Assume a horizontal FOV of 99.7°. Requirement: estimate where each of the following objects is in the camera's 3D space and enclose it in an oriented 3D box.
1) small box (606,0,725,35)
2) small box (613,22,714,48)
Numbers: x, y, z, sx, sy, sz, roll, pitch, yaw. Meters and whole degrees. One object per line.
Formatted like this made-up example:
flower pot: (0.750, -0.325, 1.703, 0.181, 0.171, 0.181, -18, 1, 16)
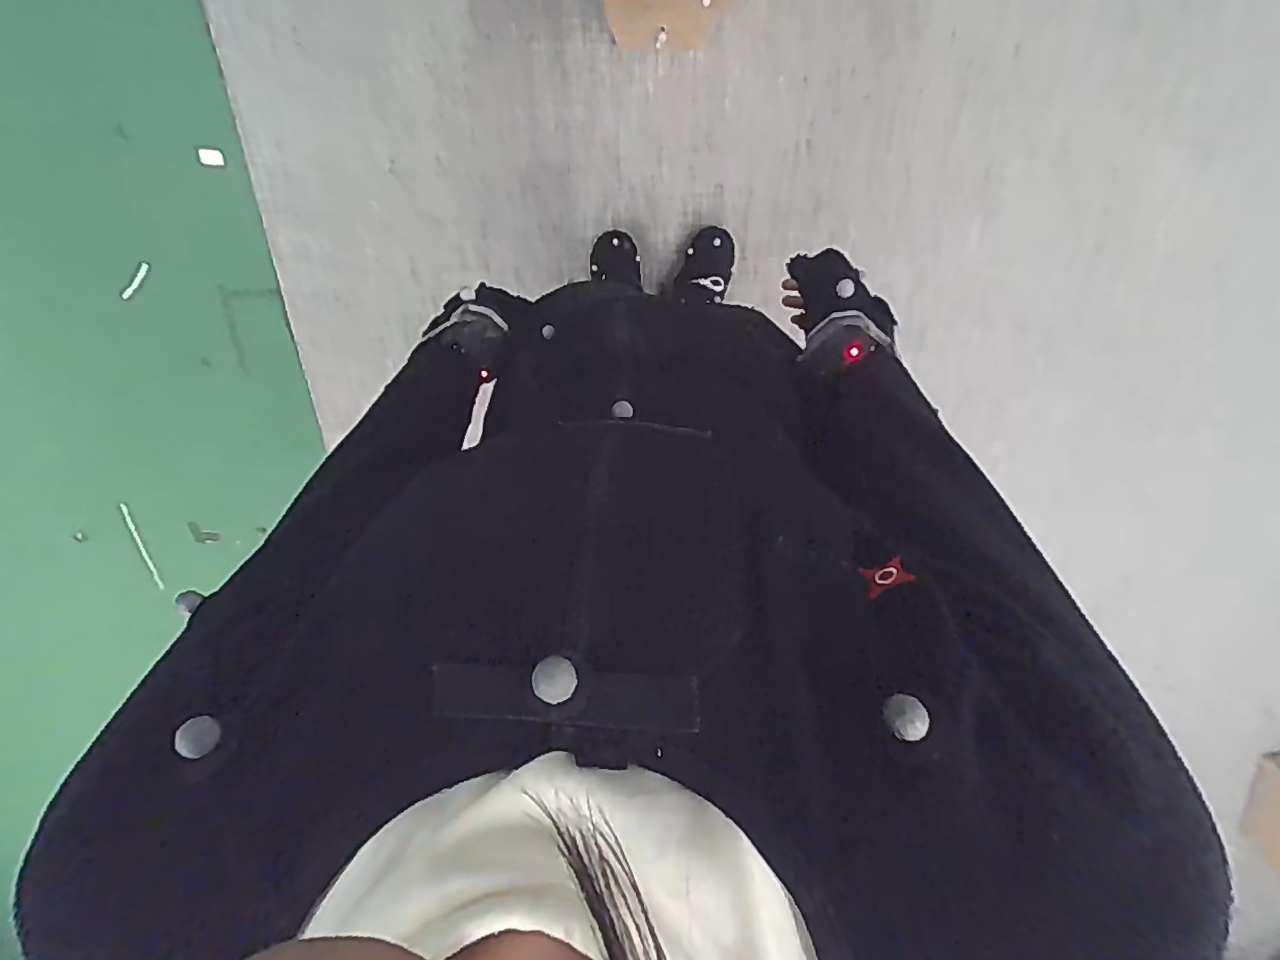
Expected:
small box: (0.038, -0.798, 0.819, 0.179, 0.176, 0.168, 0, 120, 2)
small box: (0.042, -0.886, 0.954, 0.179, 0.176, 0.168, 1, 118, 2)
